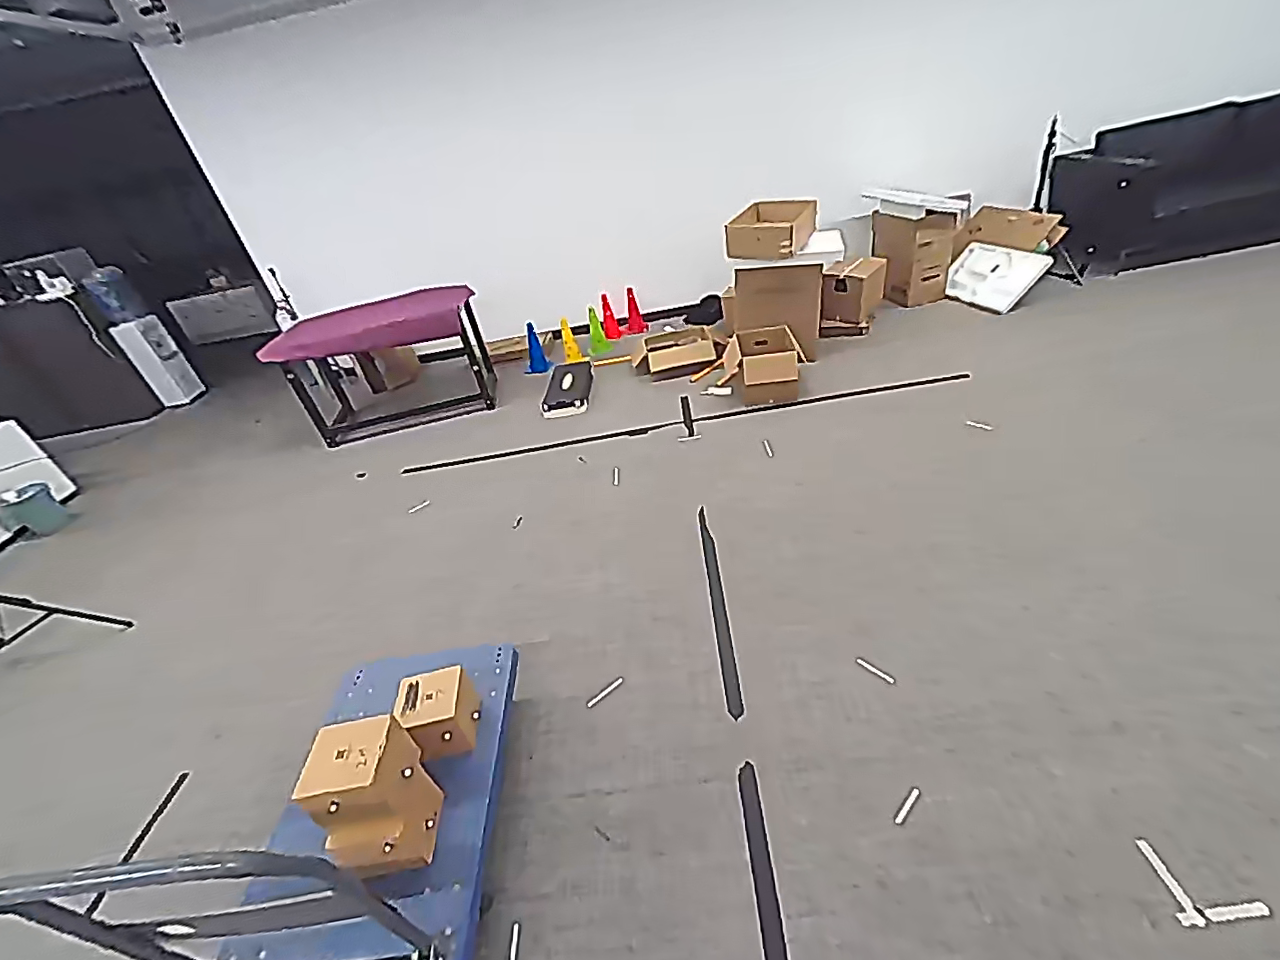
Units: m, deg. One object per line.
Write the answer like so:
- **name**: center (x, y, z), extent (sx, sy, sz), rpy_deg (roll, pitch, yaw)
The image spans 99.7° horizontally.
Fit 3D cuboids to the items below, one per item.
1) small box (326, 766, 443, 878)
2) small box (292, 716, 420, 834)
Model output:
- **small box**: center (-0.602, 0.821, 1.296), extent (0.179, 0.176, 0.168), rpy_deg (-12, 33, 0)
- **small box**: center (-0.632, 0.672, 1.227), extent (0.179, 0.176, 0.168), rpy_deg (-11, 34, 1)
